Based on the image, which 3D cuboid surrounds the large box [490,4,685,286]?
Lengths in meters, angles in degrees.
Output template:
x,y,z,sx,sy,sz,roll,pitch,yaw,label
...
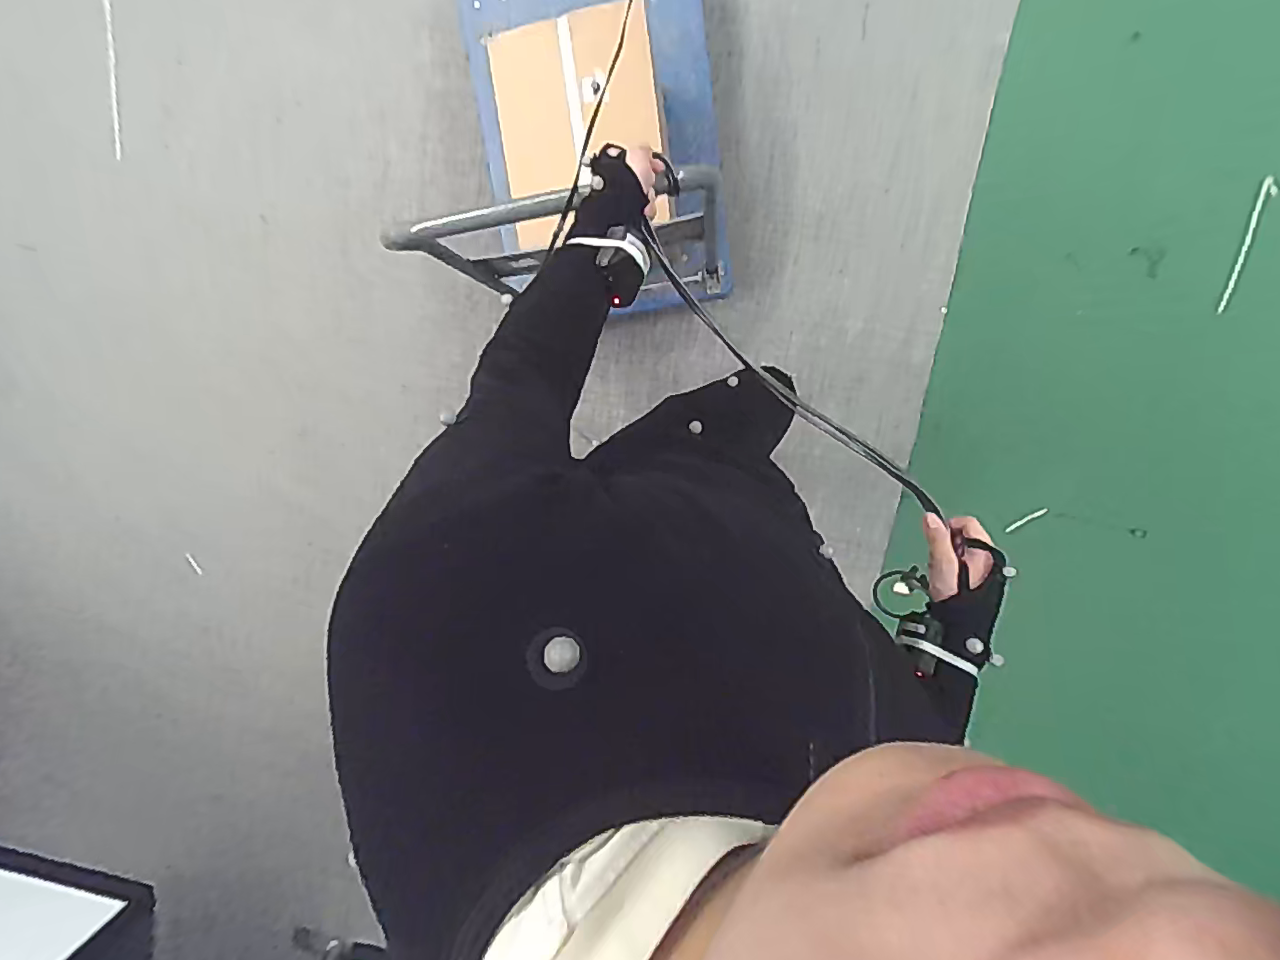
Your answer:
x,y,z,sx,sy,sz,roll,pitch,yaw,label
-0.088,-0.681,1.183,0.320,0.320,0.408,-7,99,9,large box
